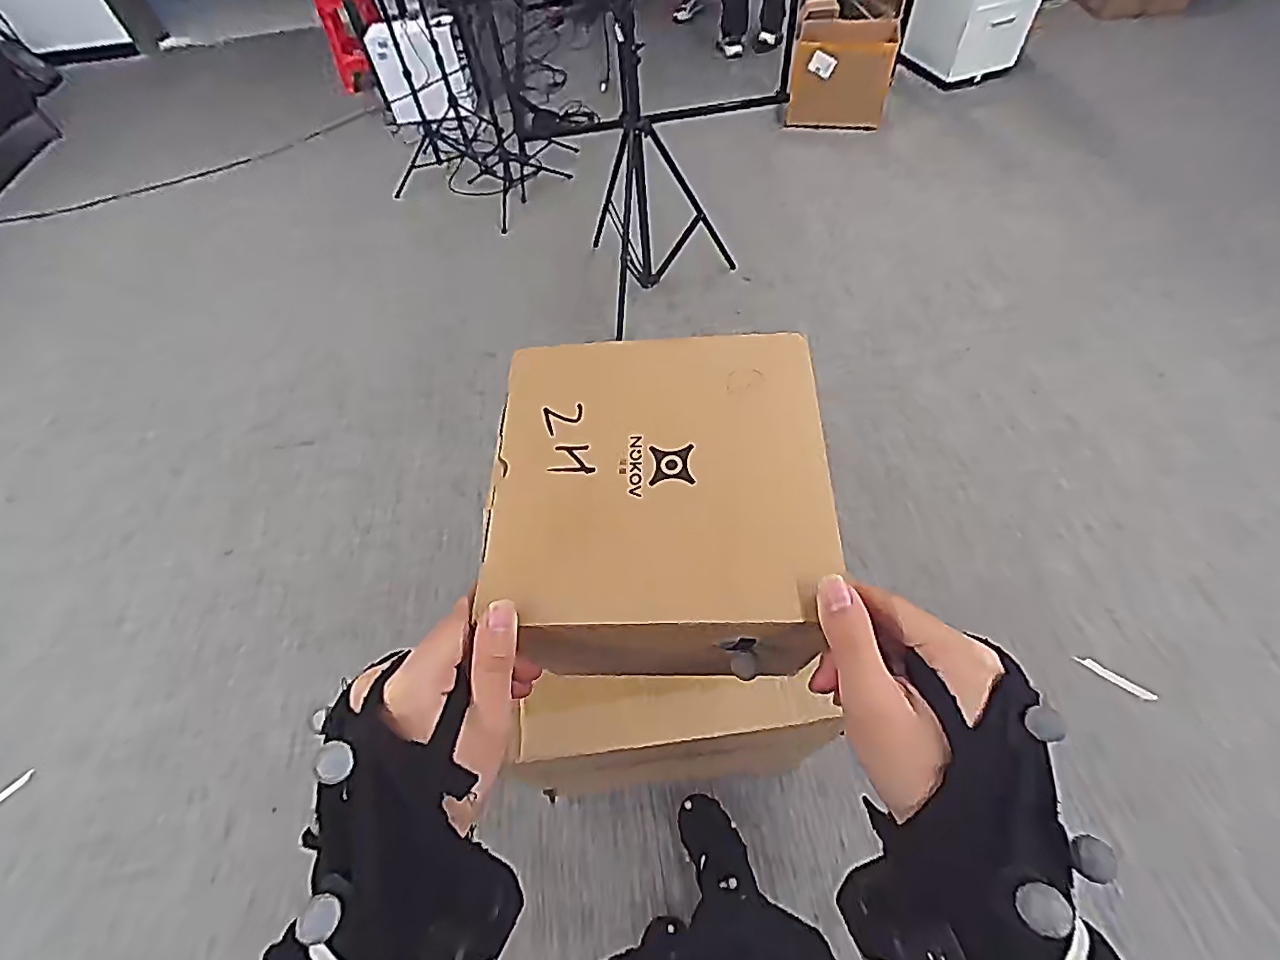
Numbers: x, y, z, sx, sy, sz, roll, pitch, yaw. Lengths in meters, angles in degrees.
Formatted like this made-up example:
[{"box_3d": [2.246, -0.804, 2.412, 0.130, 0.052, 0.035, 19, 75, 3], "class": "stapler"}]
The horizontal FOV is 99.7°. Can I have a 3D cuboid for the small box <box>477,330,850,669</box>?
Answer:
[{"box_3d": [0.017, 0.025, 0.355, 0.179, 0.176, 0.168, -3, 62, 6], "class": "small box"}]
